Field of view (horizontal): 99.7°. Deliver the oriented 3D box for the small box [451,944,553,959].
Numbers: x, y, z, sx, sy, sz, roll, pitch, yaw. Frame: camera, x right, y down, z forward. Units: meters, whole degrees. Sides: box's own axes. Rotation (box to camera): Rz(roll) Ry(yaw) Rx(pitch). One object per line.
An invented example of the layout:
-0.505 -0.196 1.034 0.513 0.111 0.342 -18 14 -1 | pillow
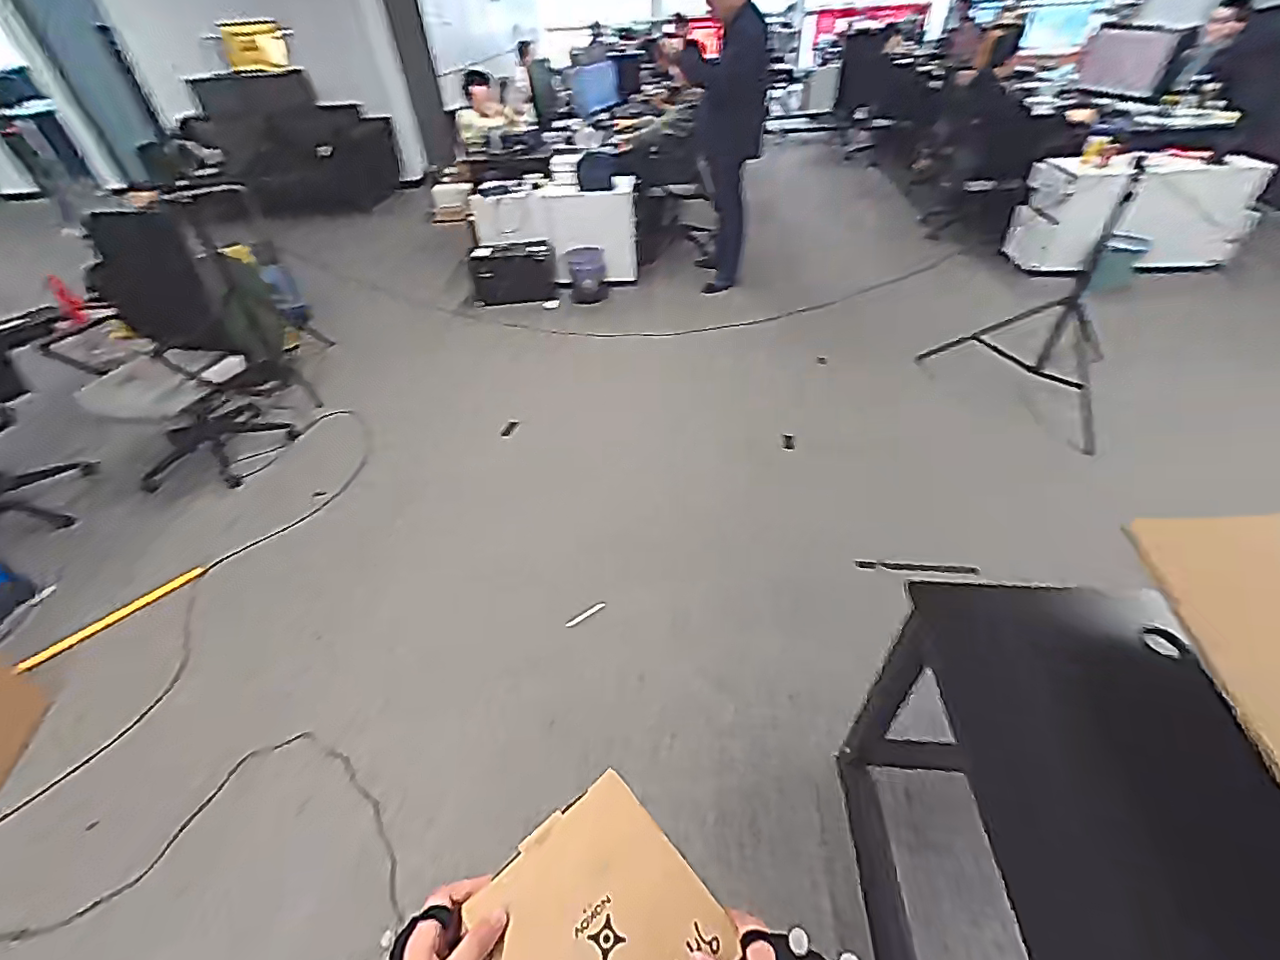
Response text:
-0.231 0.914 0.909 0.168 0.176 0.179 -4 40 -1 | small box
